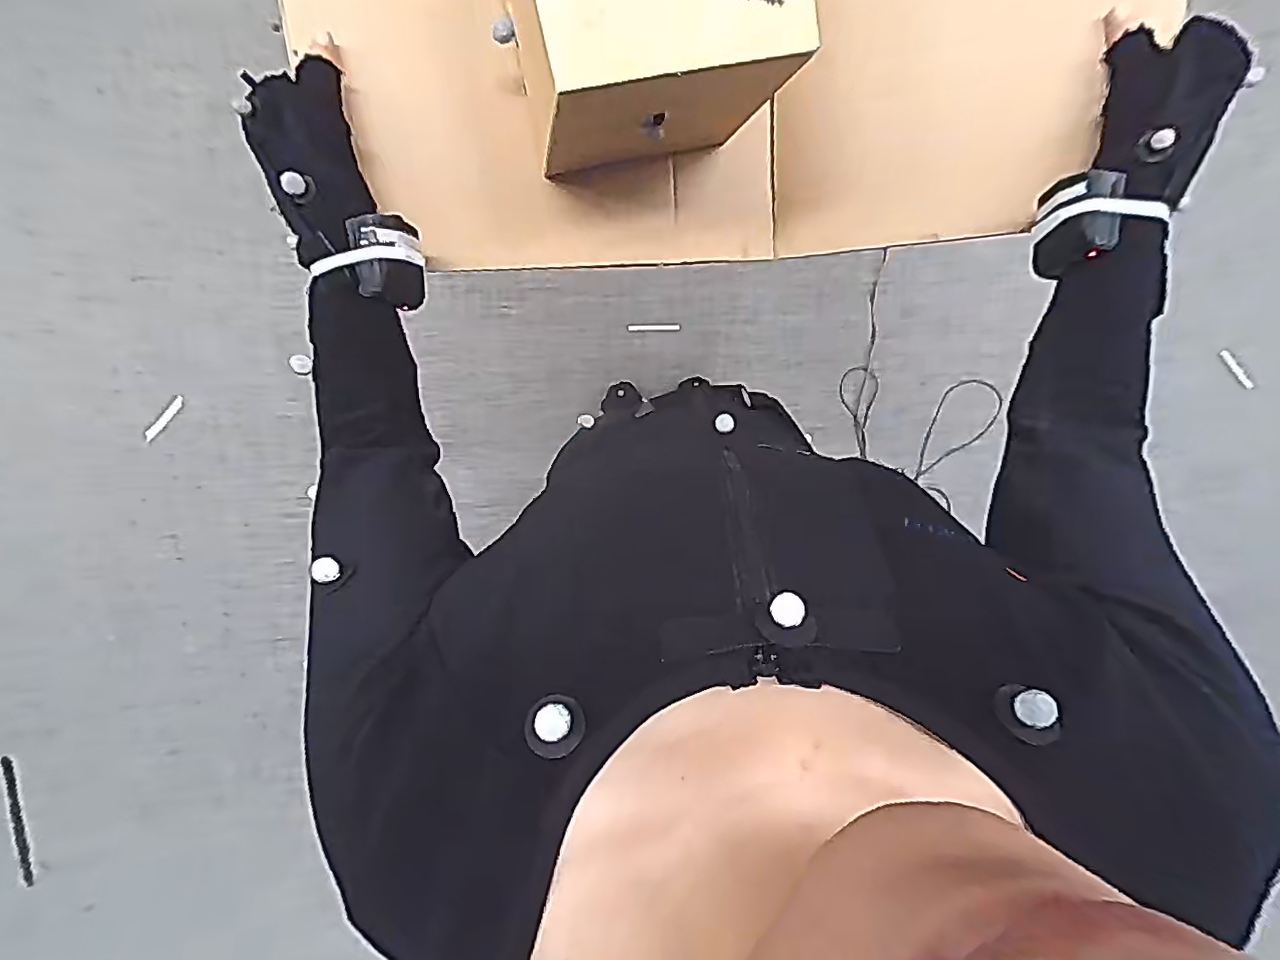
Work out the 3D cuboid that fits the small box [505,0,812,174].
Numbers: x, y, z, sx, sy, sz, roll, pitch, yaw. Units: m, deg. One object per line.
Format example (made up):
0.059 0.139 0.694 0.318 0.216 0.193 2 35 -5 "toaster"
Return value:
-0.001 -0.350 0.399 0.179 0.176 0.168 -15 106 -8 "small box"
